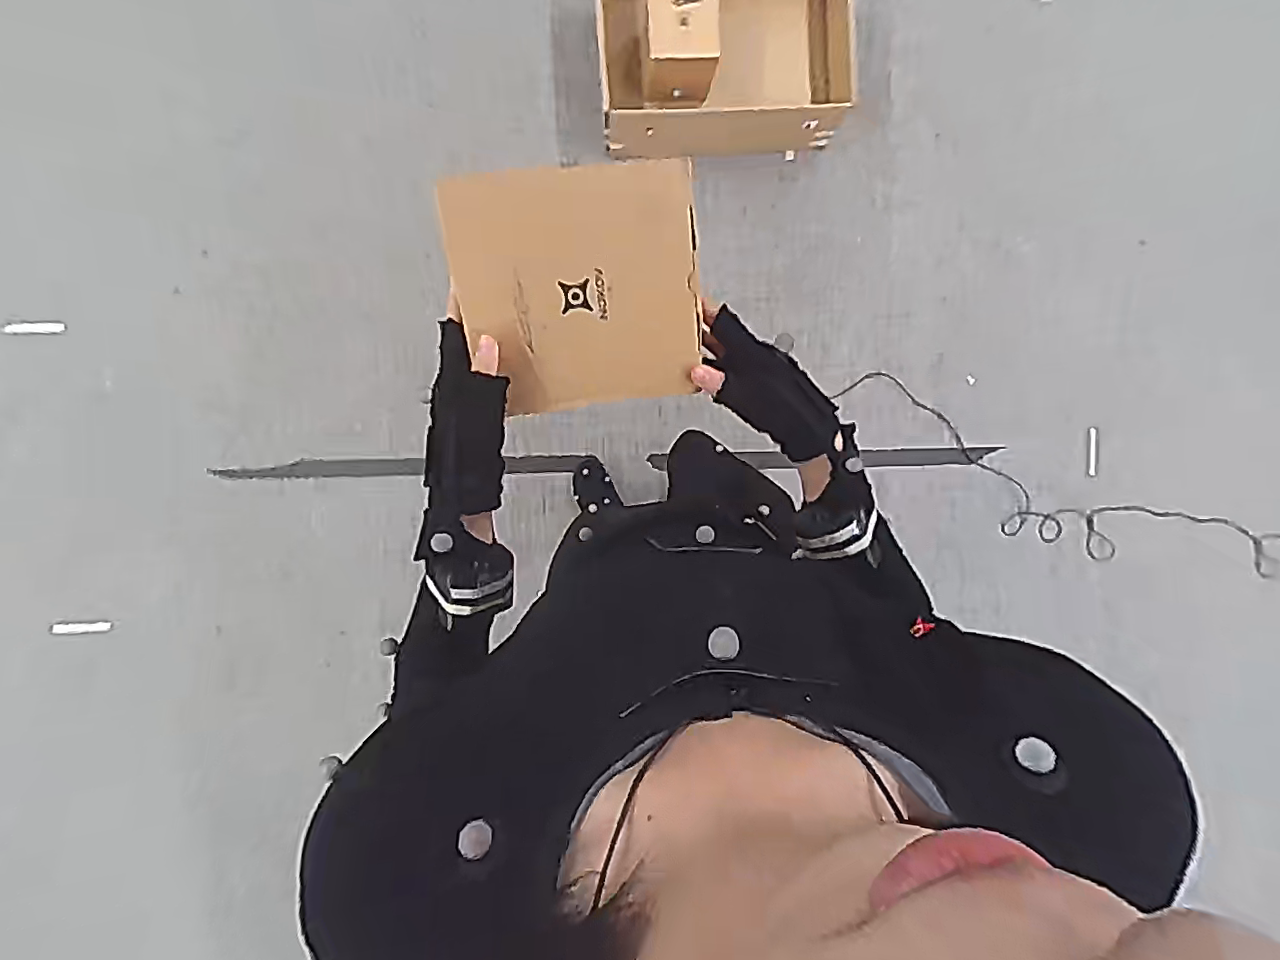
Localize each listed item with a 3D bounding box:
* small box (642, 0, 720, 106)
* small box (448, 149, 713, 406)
[{"bbox_3d":[0.097,-1.068,1.336,0.168,0.176,0.179,-4,95,-4],"label":"small box"},{"bbox_3d":[-0.045,-0.168,0.465,0.179,0.176,0.168,-7,110,-4],"label":"small box"}]
